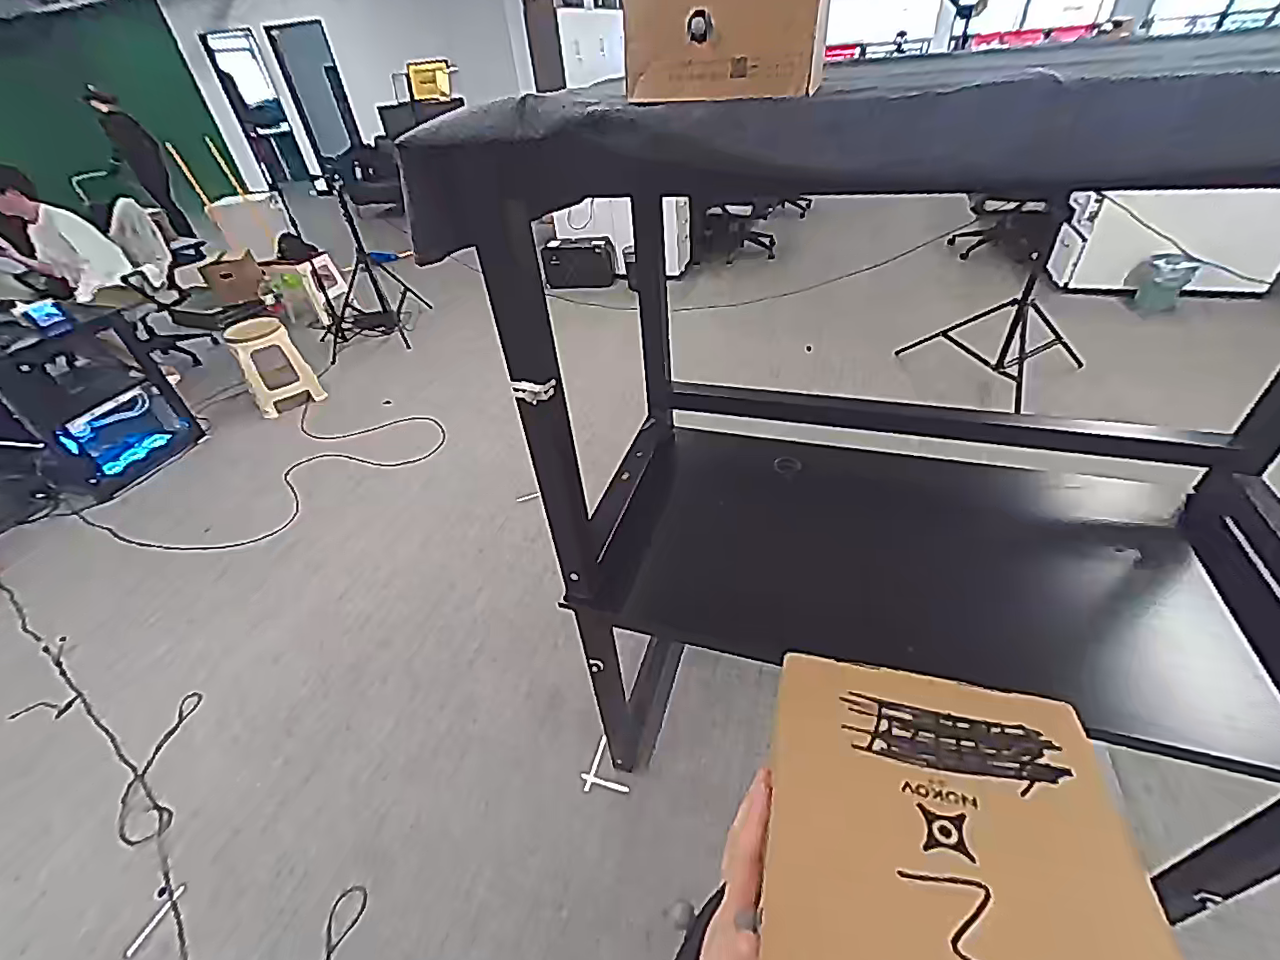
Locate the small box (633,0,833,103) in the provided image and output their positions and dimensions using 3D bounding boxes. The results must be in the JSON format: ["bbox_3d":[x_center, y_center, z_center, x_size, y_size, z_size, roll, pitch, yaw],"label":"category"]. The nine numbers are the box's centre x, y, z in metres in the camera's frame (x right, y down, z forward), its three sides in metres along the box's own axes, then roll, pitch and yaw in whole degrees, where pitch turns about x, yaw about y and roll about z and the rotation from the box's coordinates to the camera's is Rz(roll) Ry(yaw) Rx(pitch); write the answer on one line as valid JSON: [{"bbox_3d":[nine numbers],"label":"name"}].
[{"bbox_3d":[0.091,-0.454,0.494,0.168,0.176,0.179,9,40,15],"label":"small box"}]
